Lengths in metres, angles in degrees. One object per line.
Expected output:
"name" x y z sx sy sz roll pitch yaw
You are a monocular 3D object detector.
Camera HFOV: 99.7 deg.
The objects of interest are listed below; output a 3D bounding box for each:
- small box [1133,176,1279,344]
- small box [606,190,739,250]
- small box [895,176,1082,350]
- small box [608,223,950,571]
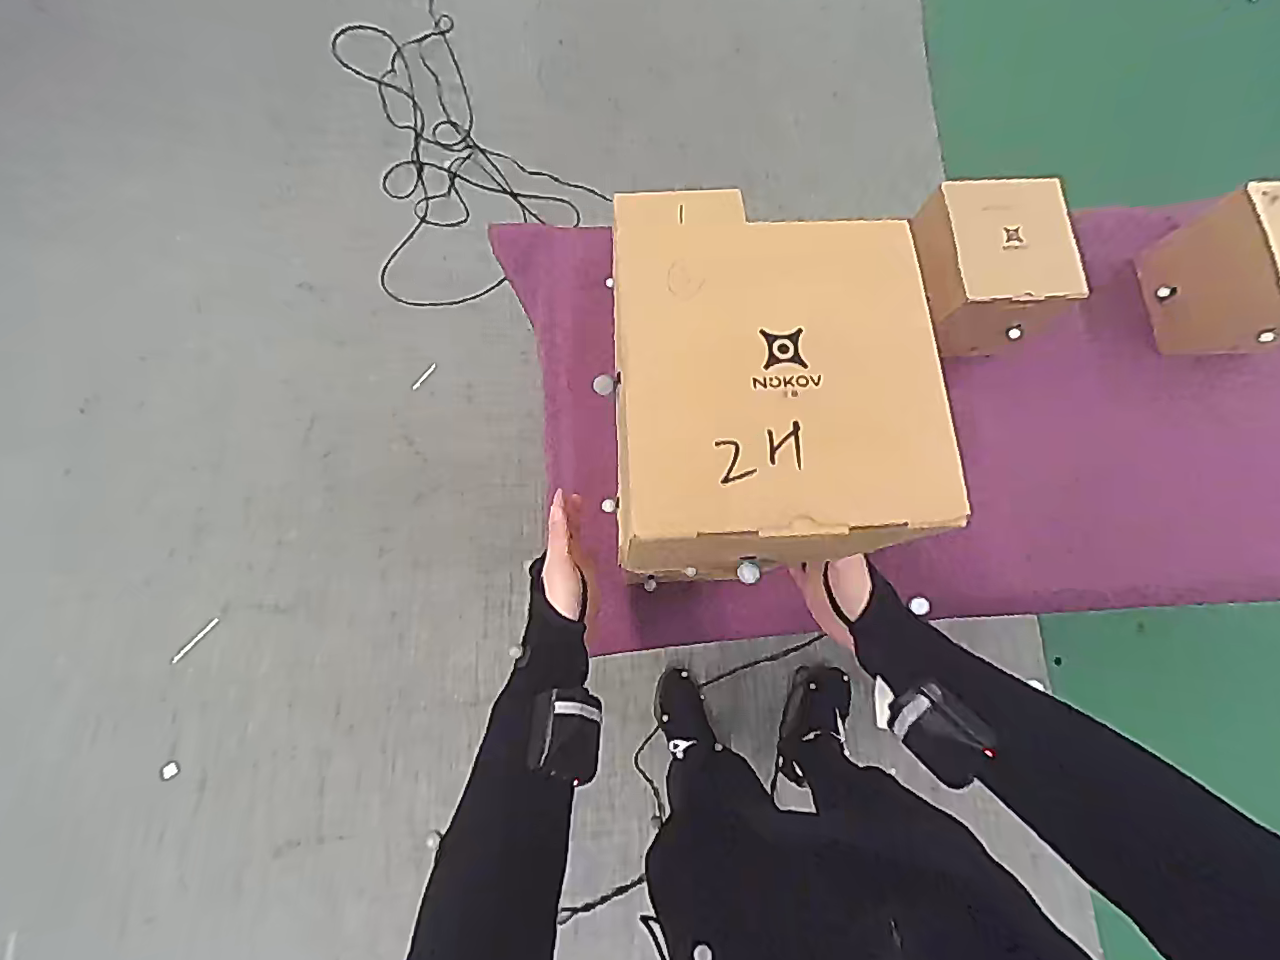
"small box" 0.881 -0.307 0.784 0.168 0.176 0.179 -3 78 -3
"small box" 0.043 -0.261 0.744 0.168 0.176 0.179 -5 77 -4
"small box" 0.465 -0.294 0.768 0.168 0.176 0.179 -4 77 -3
"small box" 0.063 -0.038 0.356 0.168 0.176 0.179 -3 76 -2
